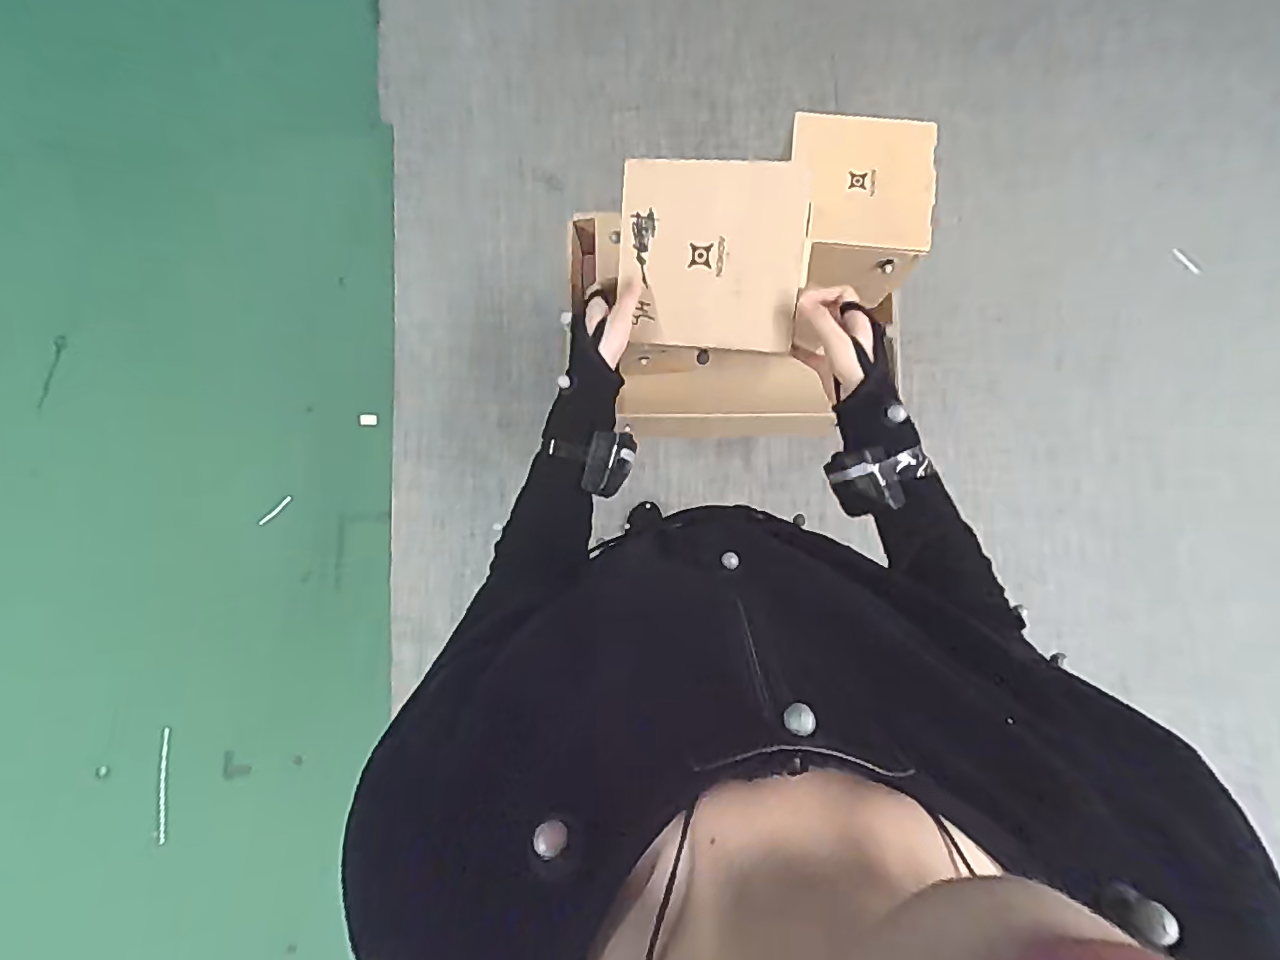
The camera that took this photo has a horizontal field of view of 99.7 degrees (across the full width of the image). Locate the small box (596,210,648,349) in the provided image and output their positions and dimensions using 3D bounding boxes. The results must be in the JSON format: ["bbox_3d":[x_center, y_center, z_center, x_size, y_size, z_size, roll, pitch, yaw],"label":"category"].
[{"bbox_3d":[0.020,-0.317,0.888,0.168,0.176,0.179,0,87,1],"label":"small box"}]

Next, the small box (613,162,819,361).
[{"bbox_3d":[0.076,-0.220,0.582,0.179,0.176,0.168,7,103,7],"label":"small box"}]

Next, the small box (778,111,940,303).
[{"bbox_3d":[0.266,-0.350,0.721,0.179,0.176,0.168,5,86,2],"label":"small box"}]
